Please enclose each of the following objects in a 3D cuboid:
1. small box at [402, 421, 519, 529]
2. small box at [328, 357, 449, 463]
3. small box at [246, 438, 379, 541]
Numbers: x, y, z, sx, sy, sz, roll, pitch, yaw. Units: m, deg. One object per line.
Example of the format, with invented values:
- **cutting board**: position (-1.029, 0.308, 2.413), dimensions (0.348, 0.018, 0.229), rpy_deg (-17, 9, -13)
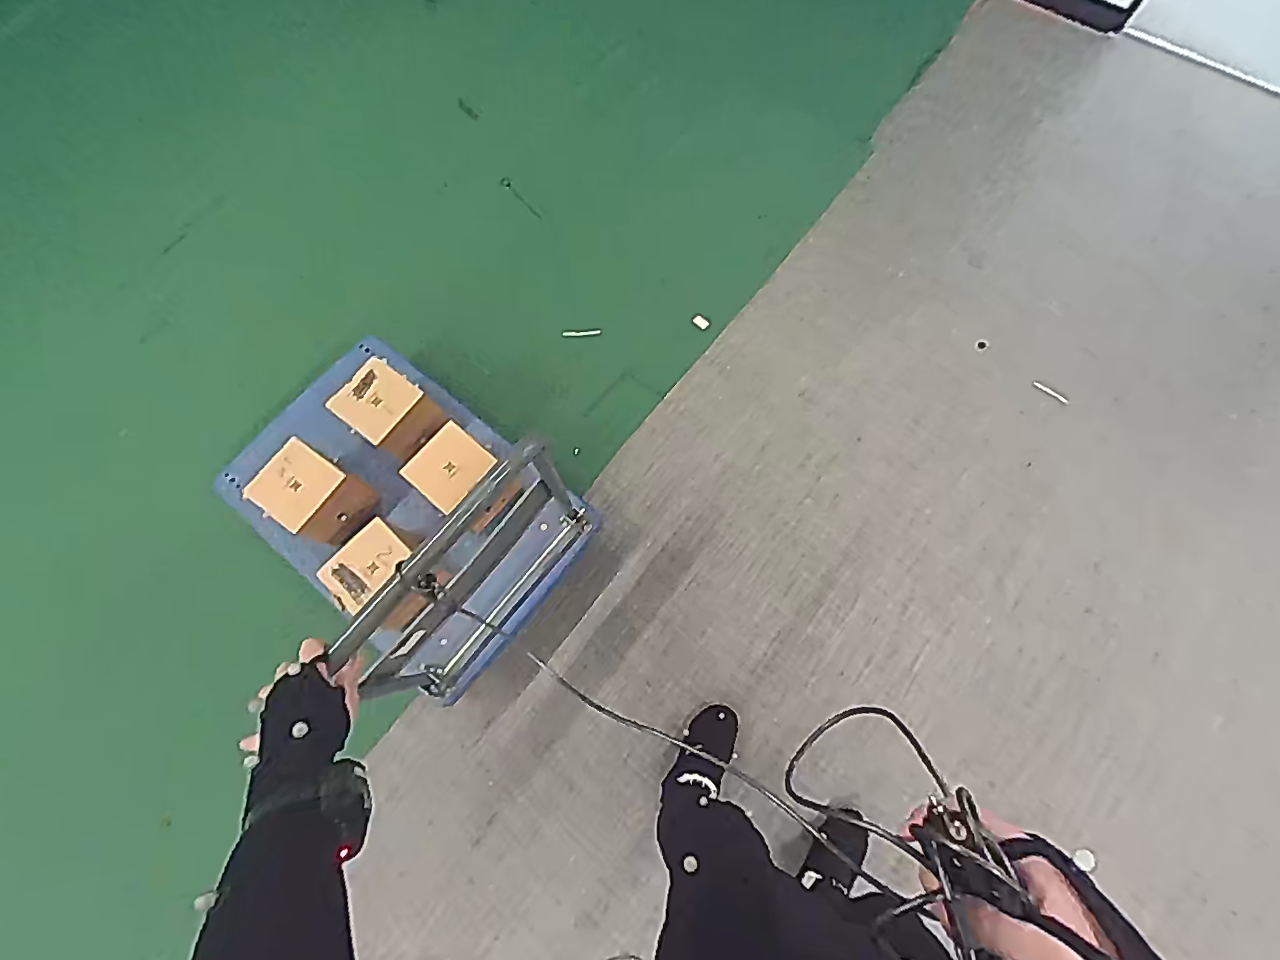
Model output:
- **small box**: position (-0.420, -0.004, 1.292), dimensions (0.179, 0.176, 0.168), rpy_deg (39, 79, 12)
- **small box**: position (-0.618, -0.166, 1.349), dimensions (0.179, 0.176, 0.168), rpy_deg (36, 79, 11)
- **small box**: position (-0.772, 0.032, 1.297), dimensions (0.179, 0.176, 0.168), rpy_deg (34, 77, 12)
